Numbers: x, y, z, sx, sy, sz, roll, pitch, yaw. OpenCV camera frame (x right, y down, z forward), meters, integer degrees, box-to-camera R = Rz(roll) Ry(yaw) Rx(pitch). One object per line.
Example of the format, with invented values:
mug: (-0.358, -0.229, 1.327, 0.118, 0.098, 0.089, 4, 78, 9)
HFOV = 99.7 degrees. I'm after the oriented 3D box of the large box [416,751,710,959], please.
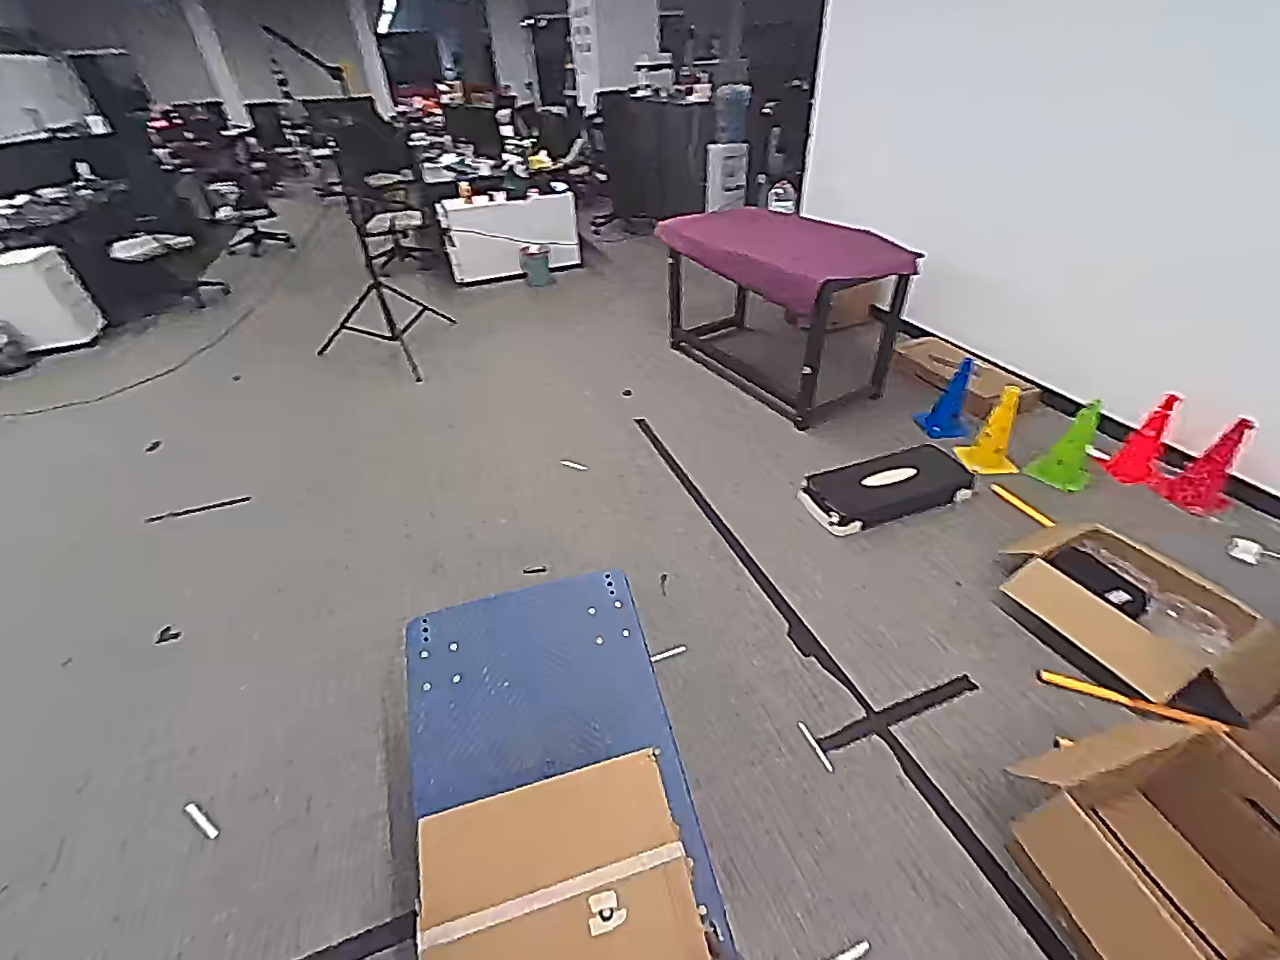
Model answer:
large box: (-0.136, 0.728, 0.950, 0.408, 0.320, 0.320, -12, 57, -12)
